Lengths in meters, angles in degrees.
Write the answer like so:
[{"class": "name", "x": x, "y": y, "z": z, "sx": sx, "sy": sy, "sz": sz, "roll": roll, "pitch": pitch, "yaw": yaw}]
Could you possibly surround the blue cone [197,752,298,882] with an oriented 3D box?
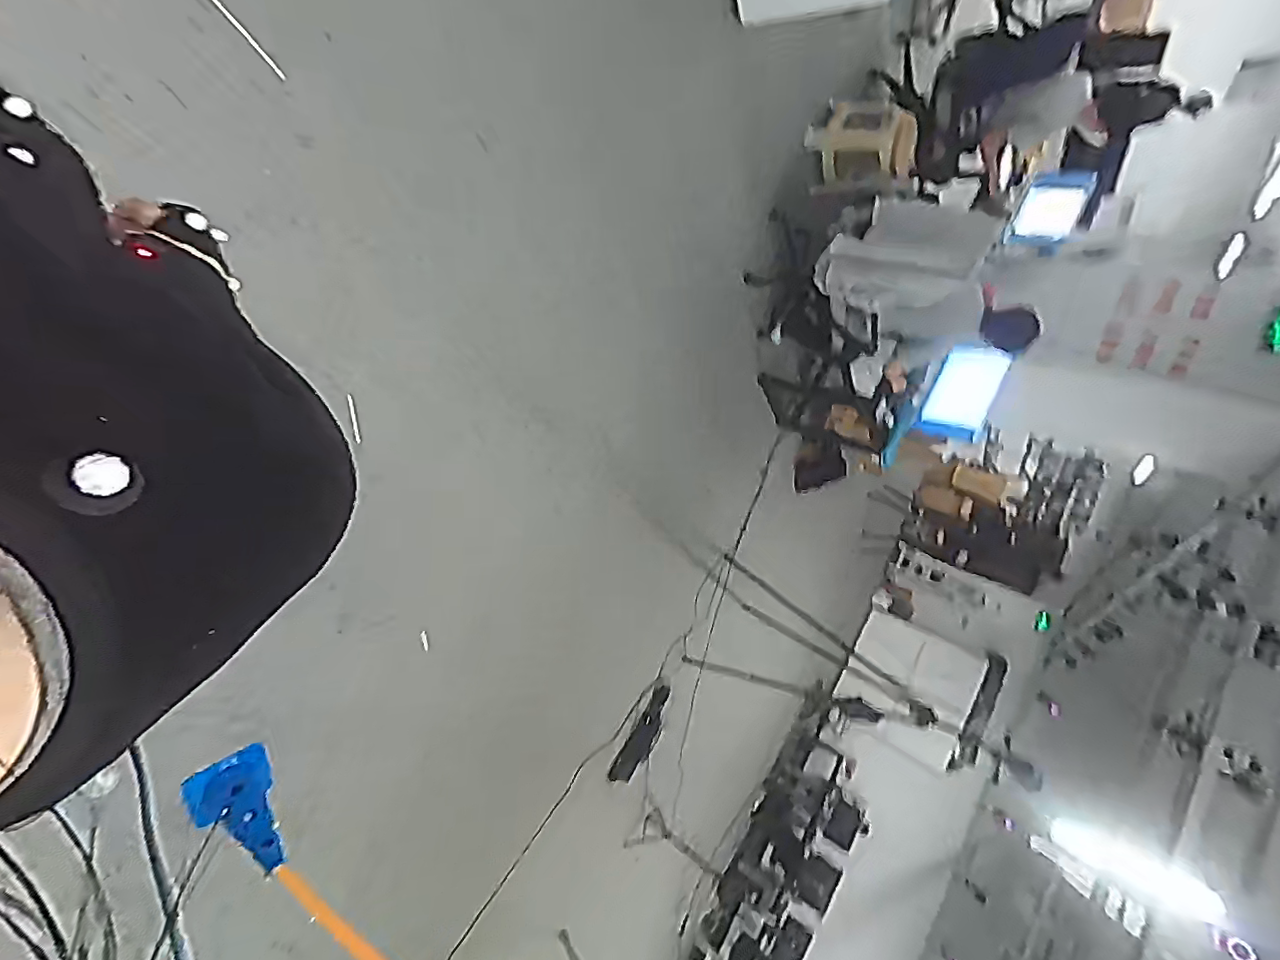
[{"class": "blue cone", "x": -1.048, "y": 0.960, "z": 1.498, "sx": 0.193, "sy": 0.380, "sz": 0.192, "roll": -25, "pitch": 127, "yaw": -46}]
